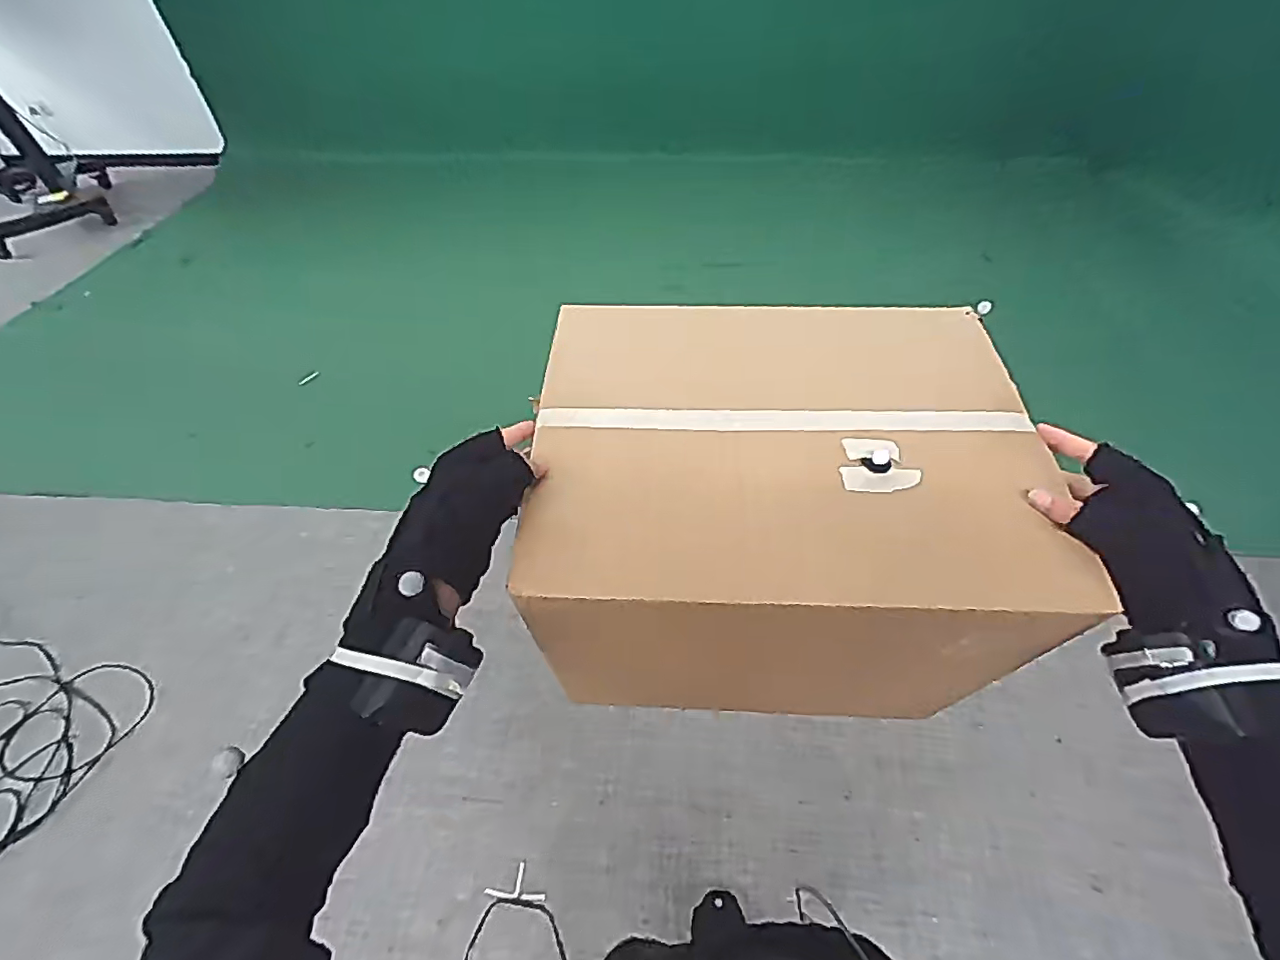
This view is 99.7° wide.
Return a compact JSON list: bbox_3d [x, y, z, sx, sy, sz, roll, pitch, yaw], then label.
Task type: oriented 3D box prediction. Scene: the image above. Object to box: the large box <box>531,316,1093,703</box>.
[{"bbox_3d":[0.122,0.043,0.584,0.408,0.320,0.320,1,55,2],"label":"large box"}]
